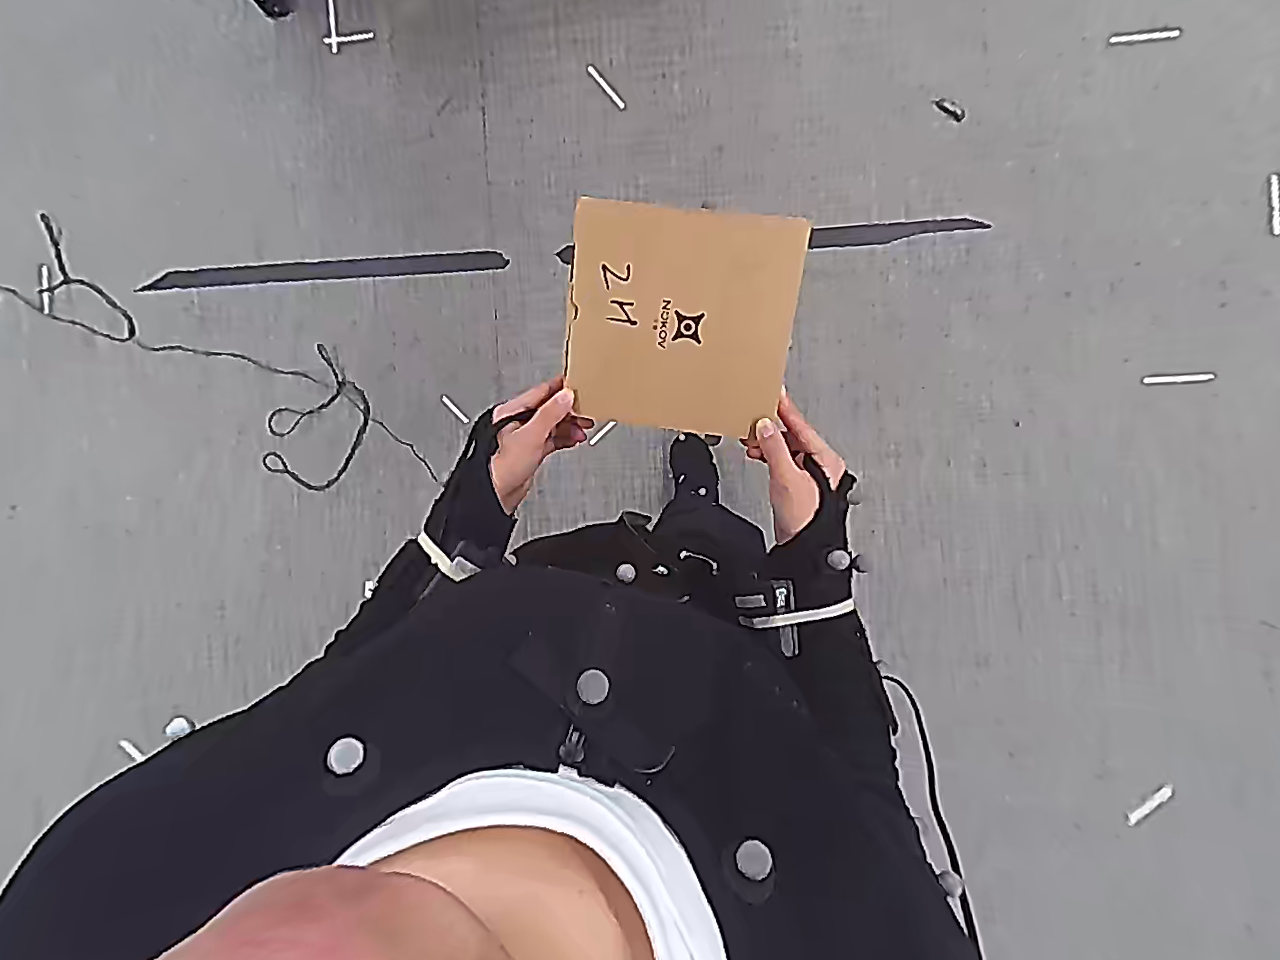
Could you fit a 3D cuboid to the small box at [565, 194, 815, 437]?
[{"bbox_3d":[0.041,-0.146,0.495,0.179,0.176,0.168,9,107,5],"label":"small box"}]
